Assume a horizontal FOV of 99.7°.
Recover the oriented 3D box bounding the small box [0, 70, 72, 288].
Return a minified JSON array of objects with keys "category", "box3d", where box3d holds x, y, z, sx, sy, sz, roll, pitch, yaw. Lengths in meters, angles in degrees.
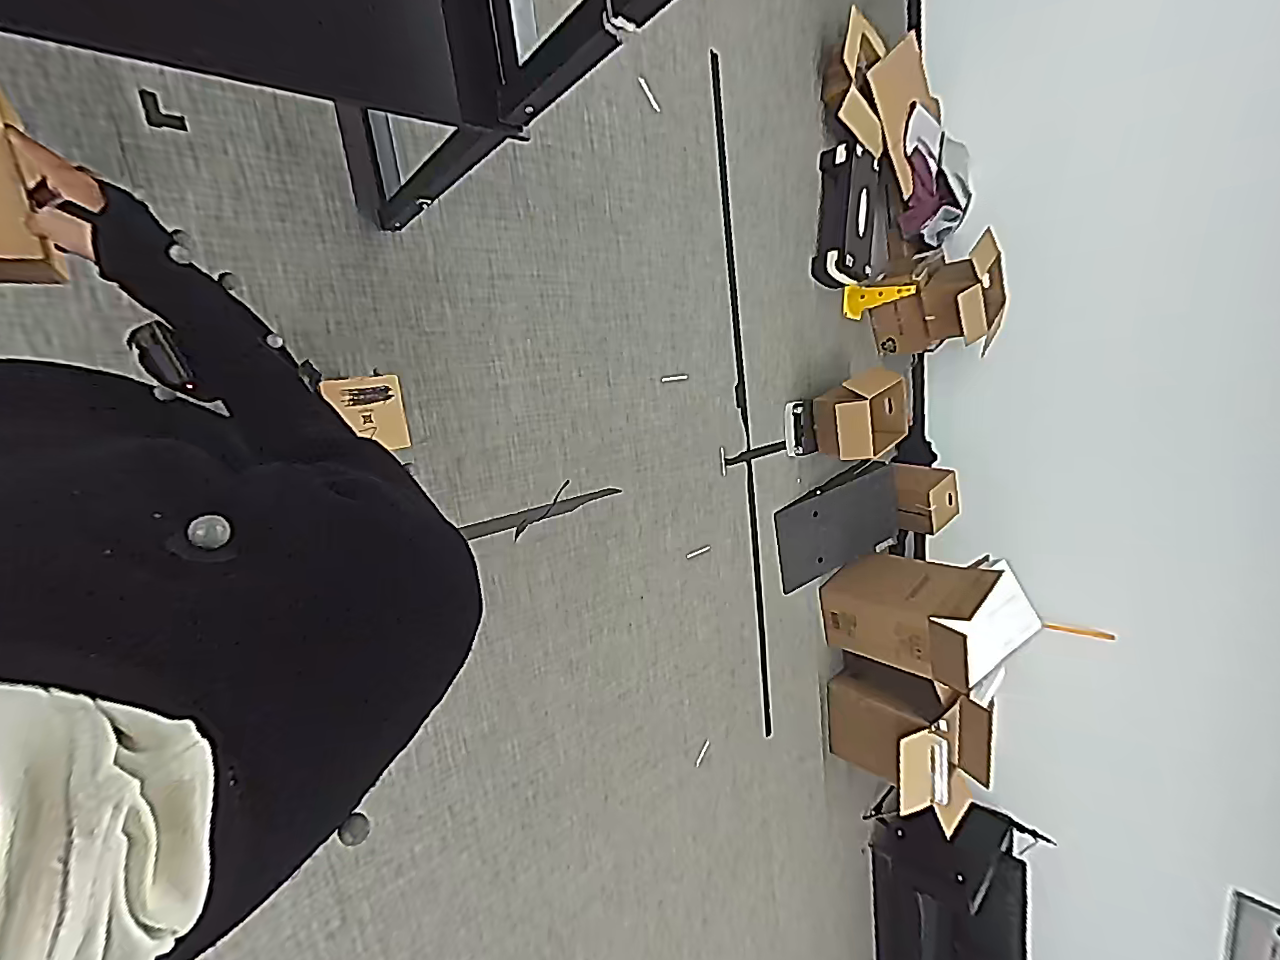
[{"category":"small box","box3d":[-0.637,-0.262,0.466,0.179,0.176,0.168,-16,108,-37]}]
